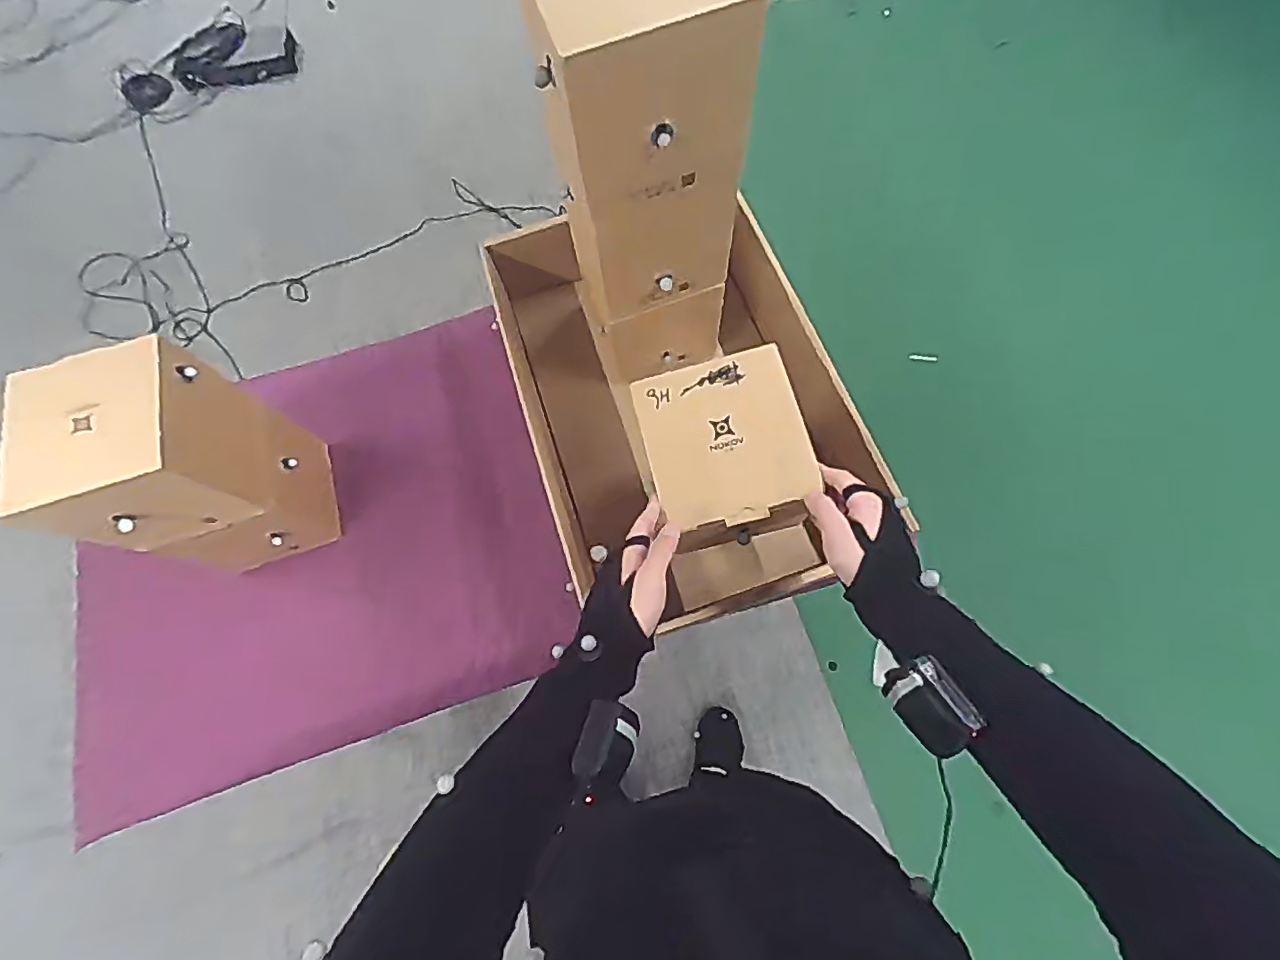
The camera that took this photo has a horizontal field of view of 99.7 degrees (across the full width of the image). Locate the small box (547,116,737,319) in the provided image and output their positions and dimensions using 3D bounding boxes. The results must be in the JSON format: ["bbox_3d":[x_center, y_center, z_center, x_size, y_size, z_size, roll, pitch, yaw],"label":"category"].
[{"bbox_3d":[0.002,-0.332,0.657,0.168,0.176,0.179,-20,73,-2],"label":"small box"}]

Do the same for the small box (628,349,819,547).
[{"bbox_3d":[0.094,-0.023,0.639,0.168,0.176,0.179,-14,75,4],"label":"small box"}]

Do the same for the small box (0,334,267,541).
[{"bbox_3d":[-0.582,-0.037,0.645,0.168,0.176,0.179,-18,70,-4],"label":"small box"}]

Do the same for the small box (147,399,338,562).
[{"bbox_3d":[-0.575,0.013,0.799,0.168,0.176,0.179,-18,70,-4],"label":"small box"}]

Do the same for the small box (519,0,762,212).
[{"bbox_3d":[-0.005,-0.380,0.499,0.168,0.176,0.179,-19,72,-3],"label":"small box"}]
